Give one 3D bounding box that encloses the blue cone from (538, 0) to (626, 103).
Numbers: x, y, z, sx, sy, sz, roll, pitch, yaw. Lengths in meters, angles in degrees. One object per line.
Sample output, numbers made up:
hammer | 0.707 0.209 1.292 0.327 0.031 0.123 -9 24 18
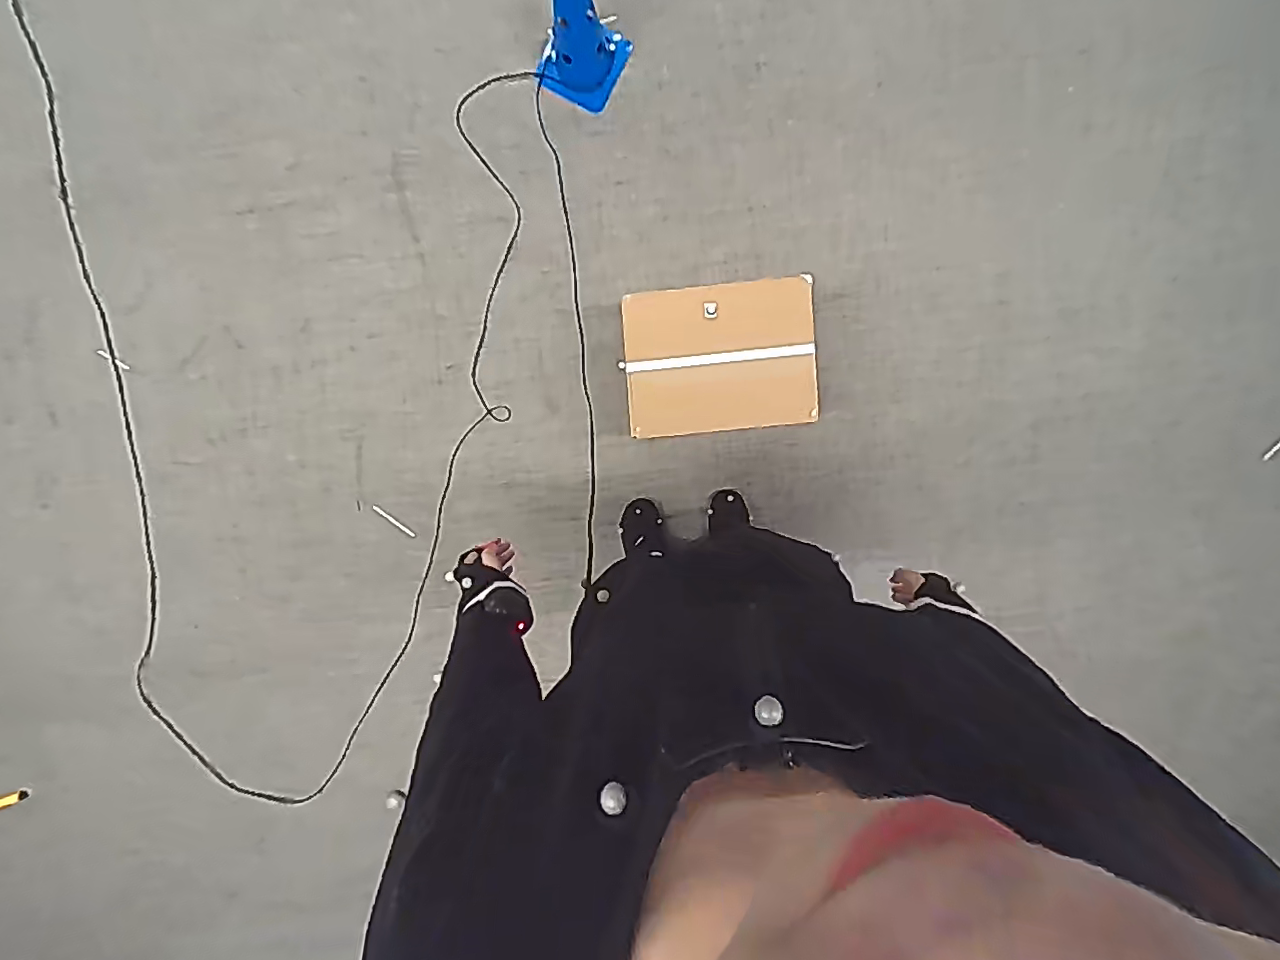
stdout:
blue cone | -0.149 -1.059 1.198 0.192 0.380 0.193 25 94 -2
